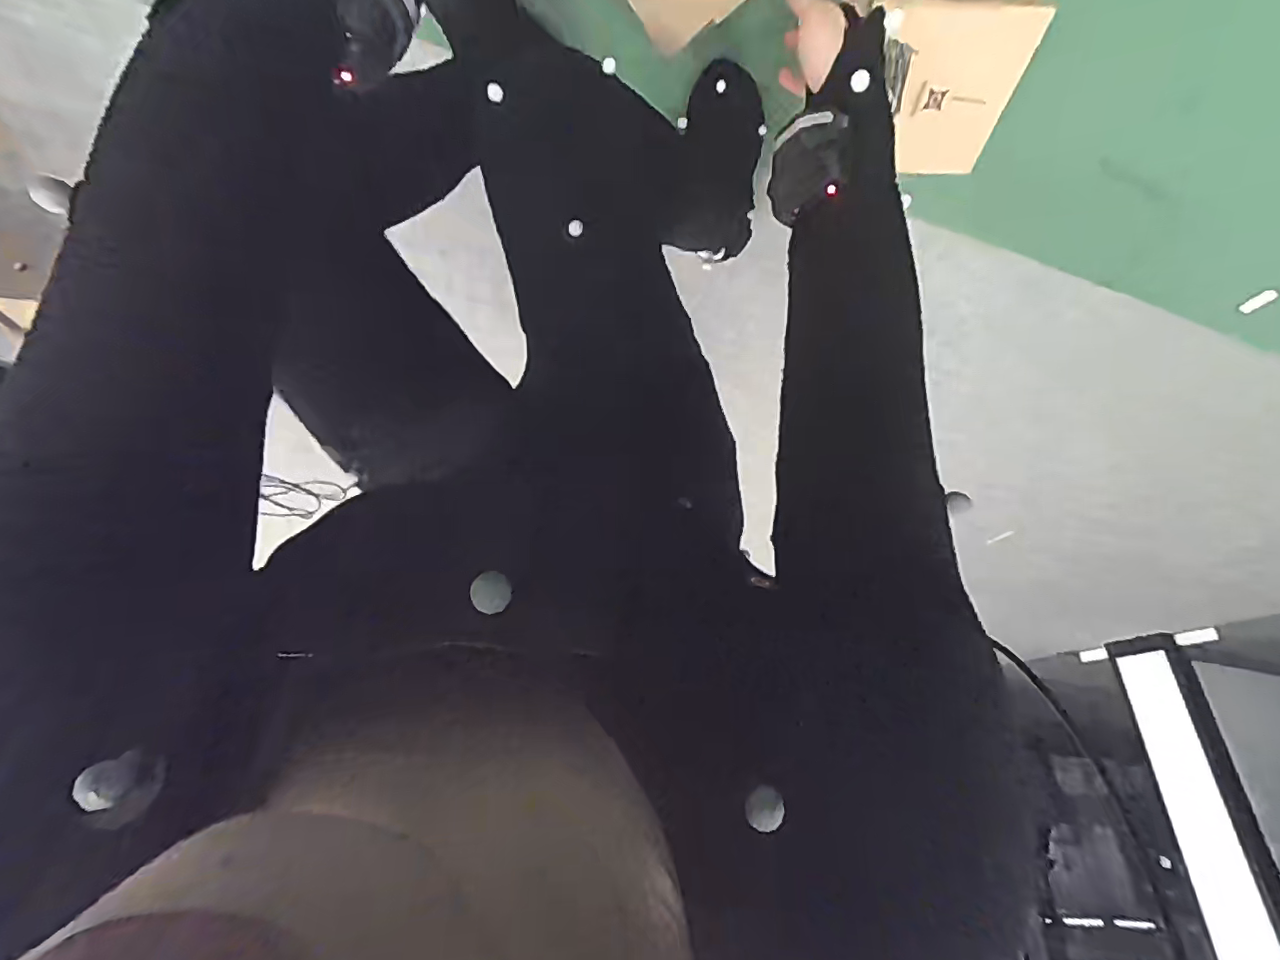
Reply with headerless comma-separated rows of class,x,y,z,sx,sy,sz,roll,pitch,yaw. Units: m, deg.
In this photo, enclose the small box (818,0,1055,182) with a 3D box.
small box,0.320,-0.480,0.630,0.179,0.176,0.168,4,151,1
